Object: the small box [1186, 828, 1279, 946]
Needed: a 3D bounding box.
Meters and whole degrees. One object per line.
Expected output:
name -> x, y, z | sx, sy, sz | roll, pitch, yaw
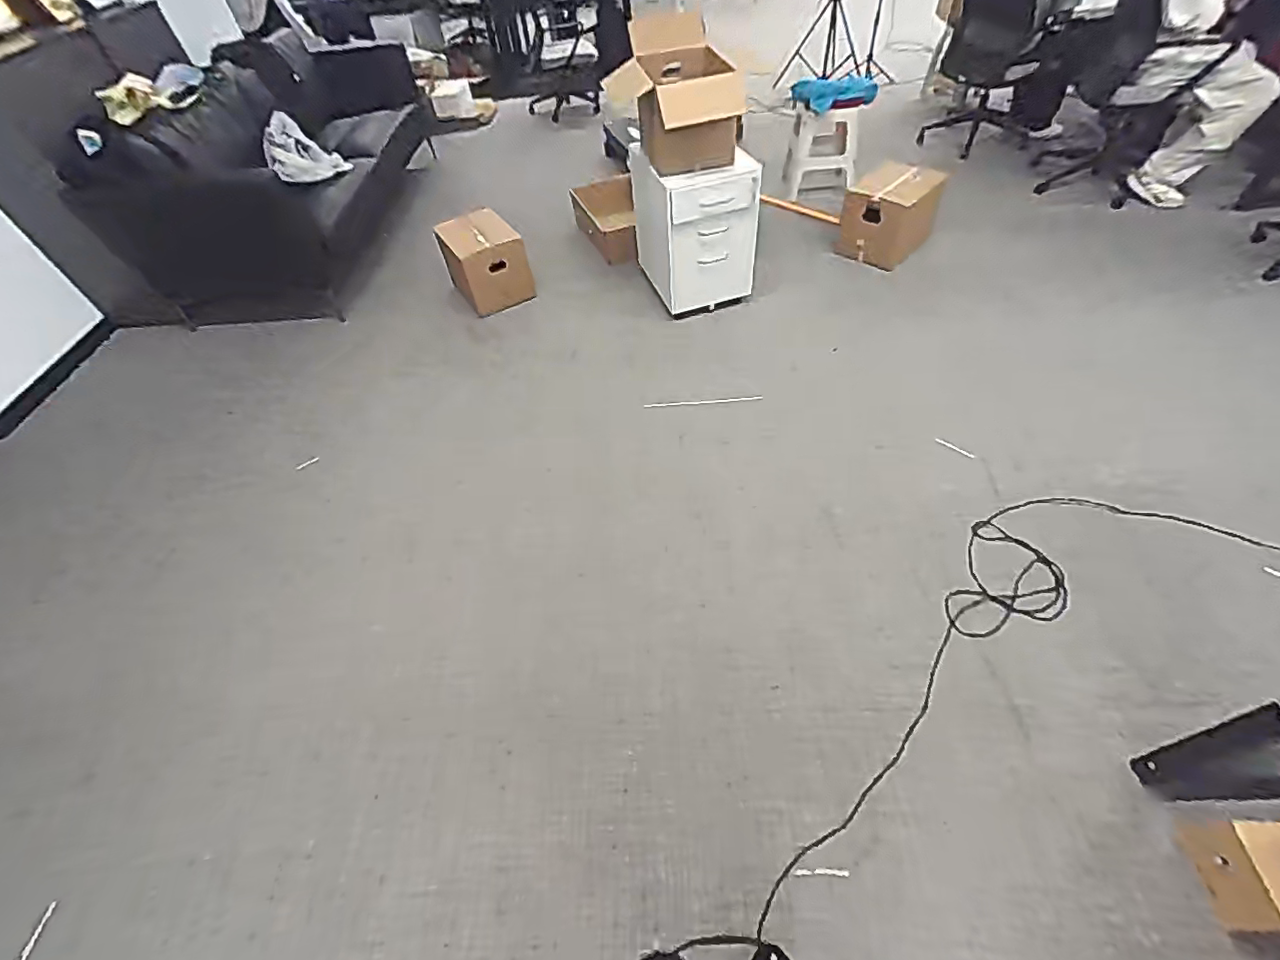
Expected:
small box -> 1.220, 0.784, 1.036 | 0.179, 0.176, 0.168 | 1, 49, 6
